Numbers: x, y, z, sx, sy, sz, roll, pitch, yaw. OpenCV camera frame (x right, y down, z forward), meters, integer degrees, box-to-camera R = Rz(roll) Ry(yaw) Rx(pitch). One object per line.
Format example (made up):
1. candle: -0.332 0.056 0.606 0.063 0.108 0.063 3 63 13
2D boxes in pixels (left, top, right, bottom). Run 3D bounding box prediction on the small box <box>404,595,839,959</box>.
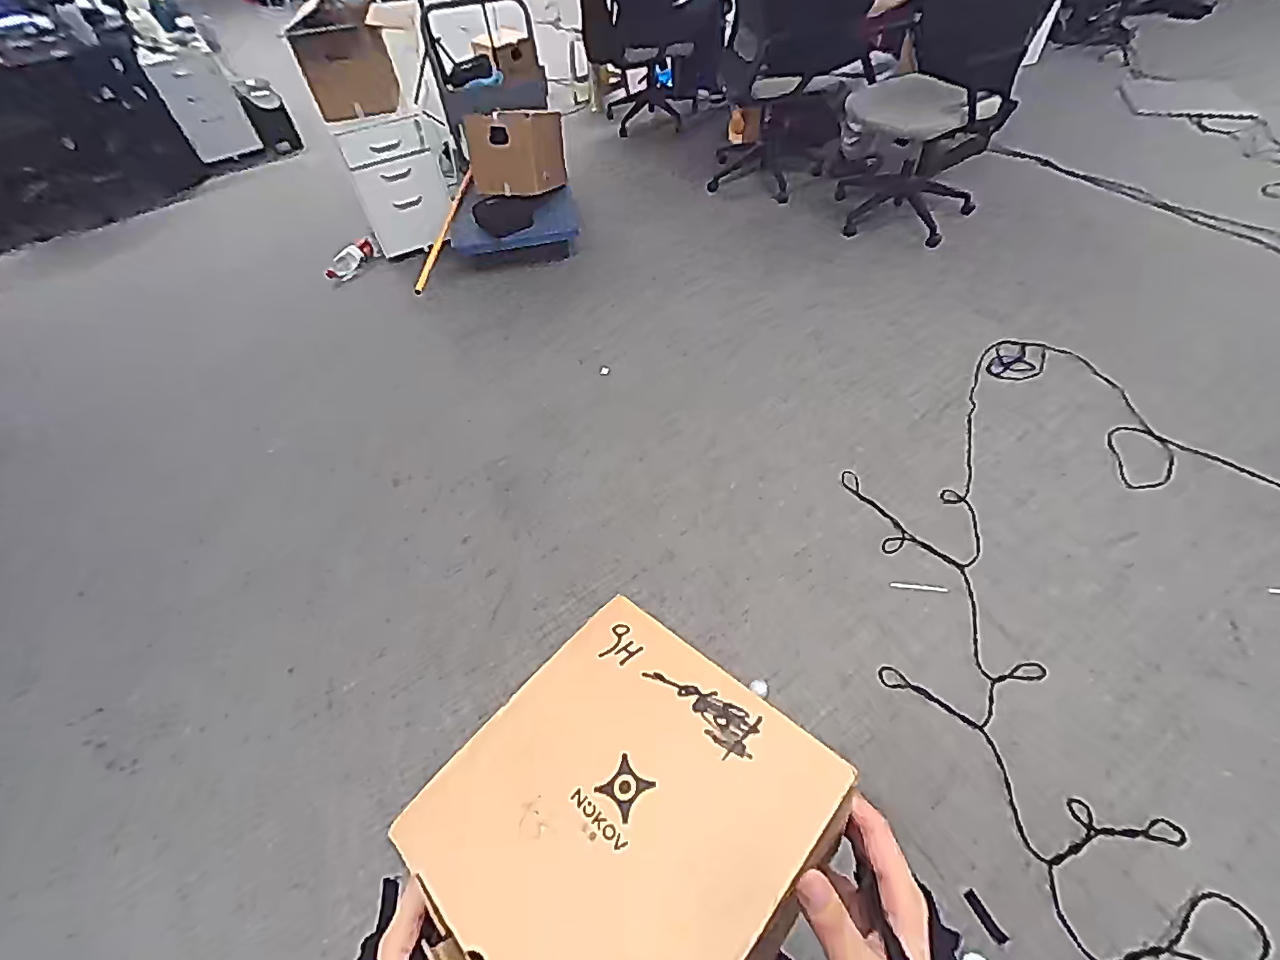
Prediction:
1. small box: 0.003 0.214 0.332 0.168 0.176 0.179 29 61 36
